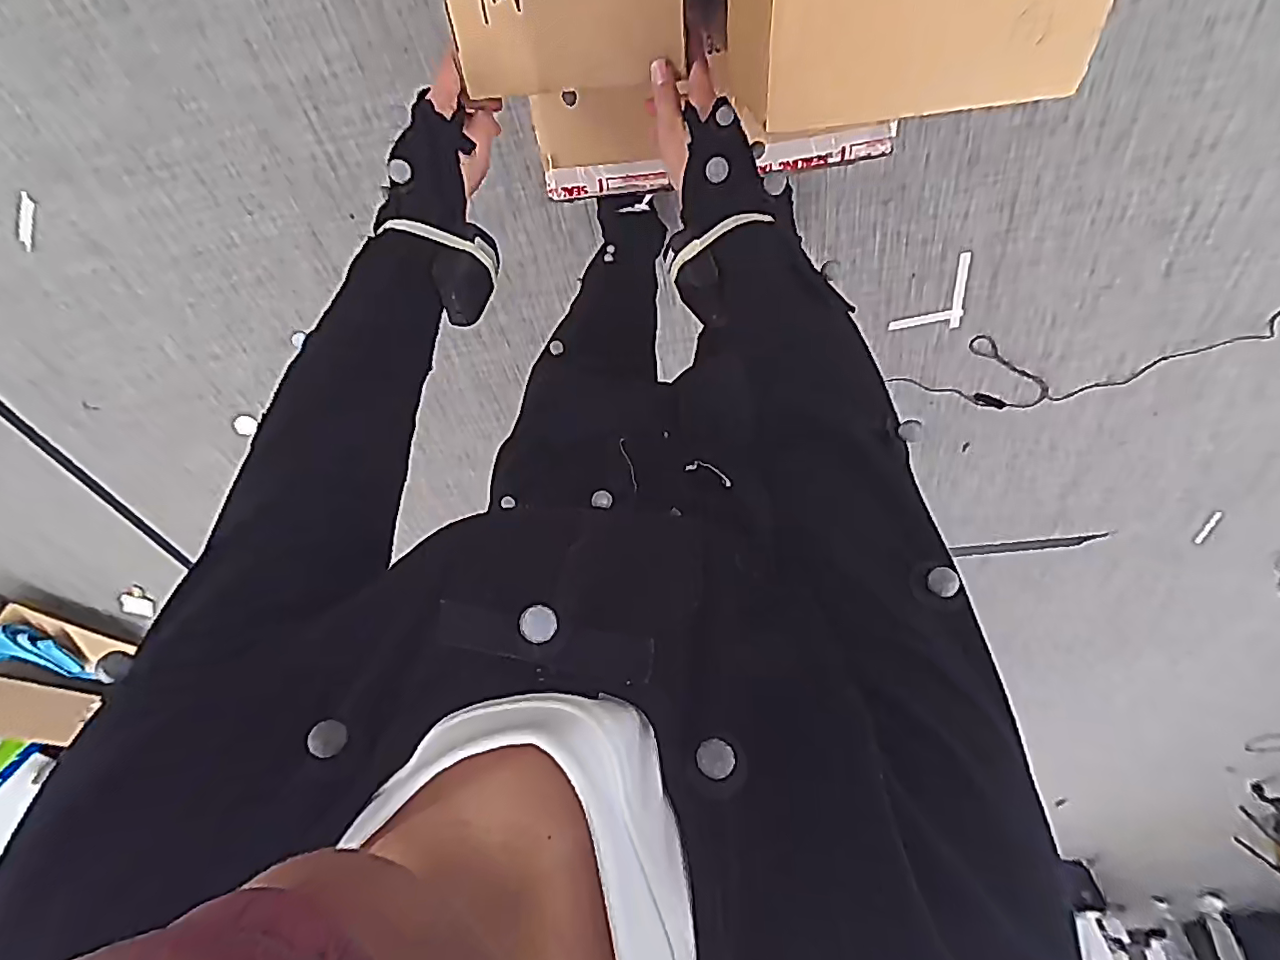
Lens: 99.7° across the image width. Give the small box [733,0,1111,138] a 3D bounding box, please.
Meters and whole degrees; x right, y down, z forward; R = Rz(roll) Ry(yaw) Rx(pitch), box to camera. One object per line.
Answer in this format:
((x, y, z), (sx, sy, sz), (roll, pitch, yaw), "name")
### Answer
((0.143, -0.314, 0.295), (0.168, 0.176, 0.179), (-5, 133, 5), "small box")
